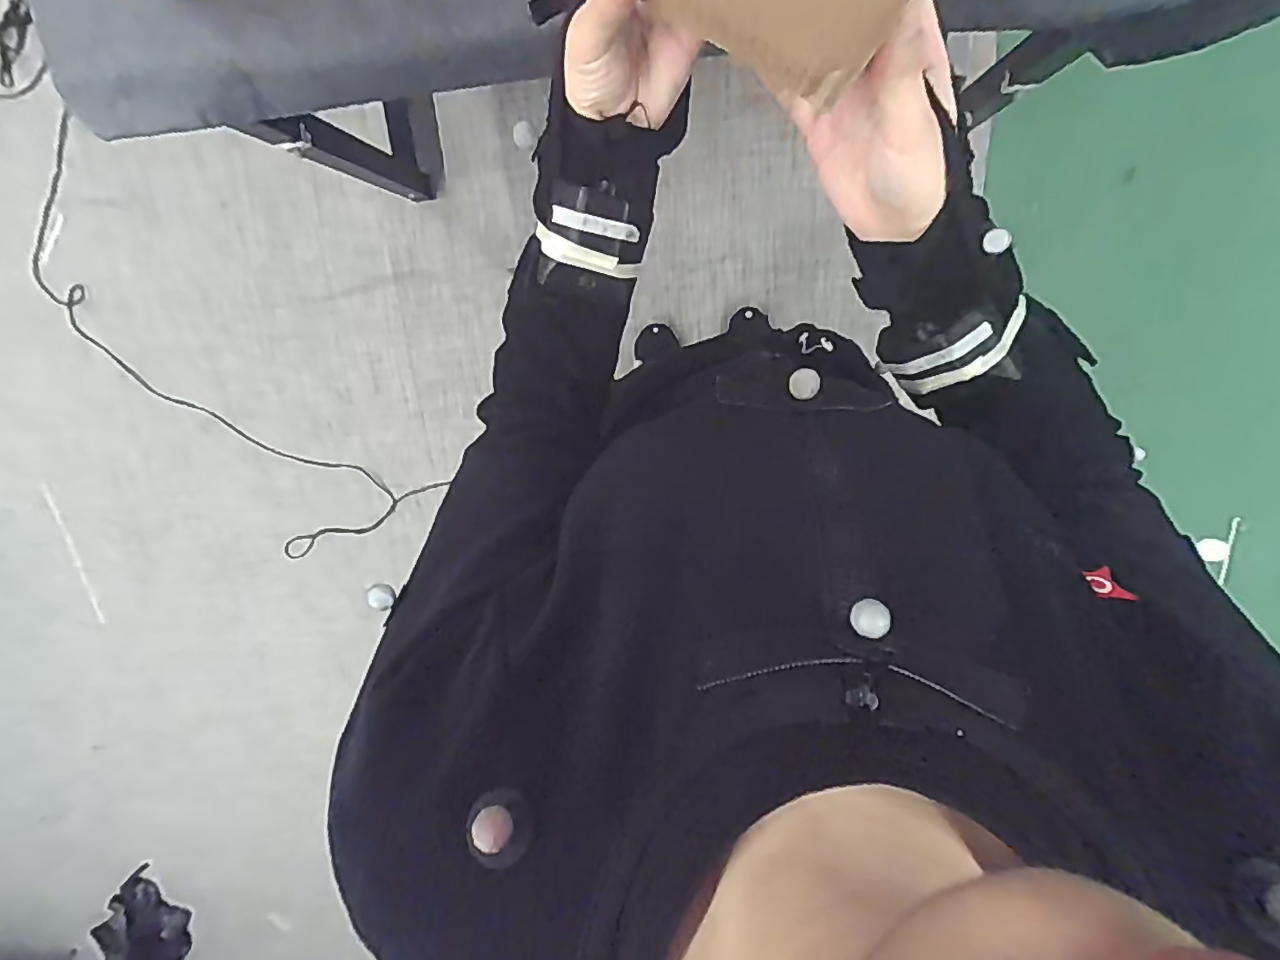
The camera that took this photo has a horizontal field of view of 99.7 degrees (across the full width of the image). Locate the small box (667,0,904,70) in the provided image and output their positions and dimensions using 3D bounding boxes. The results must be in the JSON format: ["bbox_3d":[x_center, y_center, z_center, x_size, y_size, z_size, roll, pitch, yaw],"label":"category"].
[{"bbox_3d":[0.048,-0.259,0.147,0.179,0.176,0.168,28,108,-3],"label":"small box"}]
